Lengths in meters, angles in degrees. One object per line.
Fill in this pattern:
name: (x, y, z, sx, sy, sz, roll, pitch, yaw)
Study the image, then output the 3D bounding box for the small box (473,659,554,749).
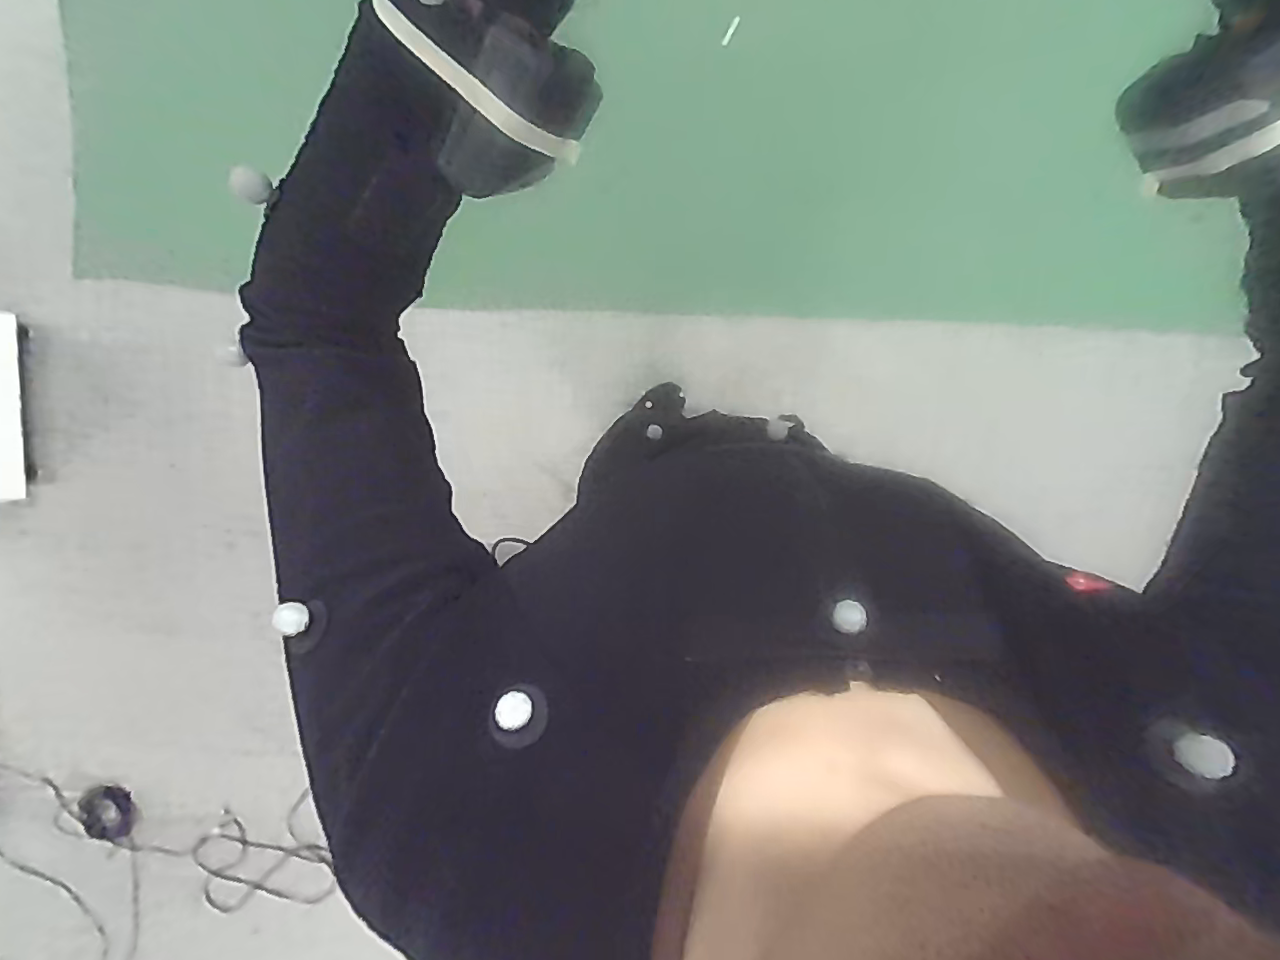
small box: (-0.344, 0.607, 1.484, 0.179, 0.176, 0.168, 3, 97, 2)
